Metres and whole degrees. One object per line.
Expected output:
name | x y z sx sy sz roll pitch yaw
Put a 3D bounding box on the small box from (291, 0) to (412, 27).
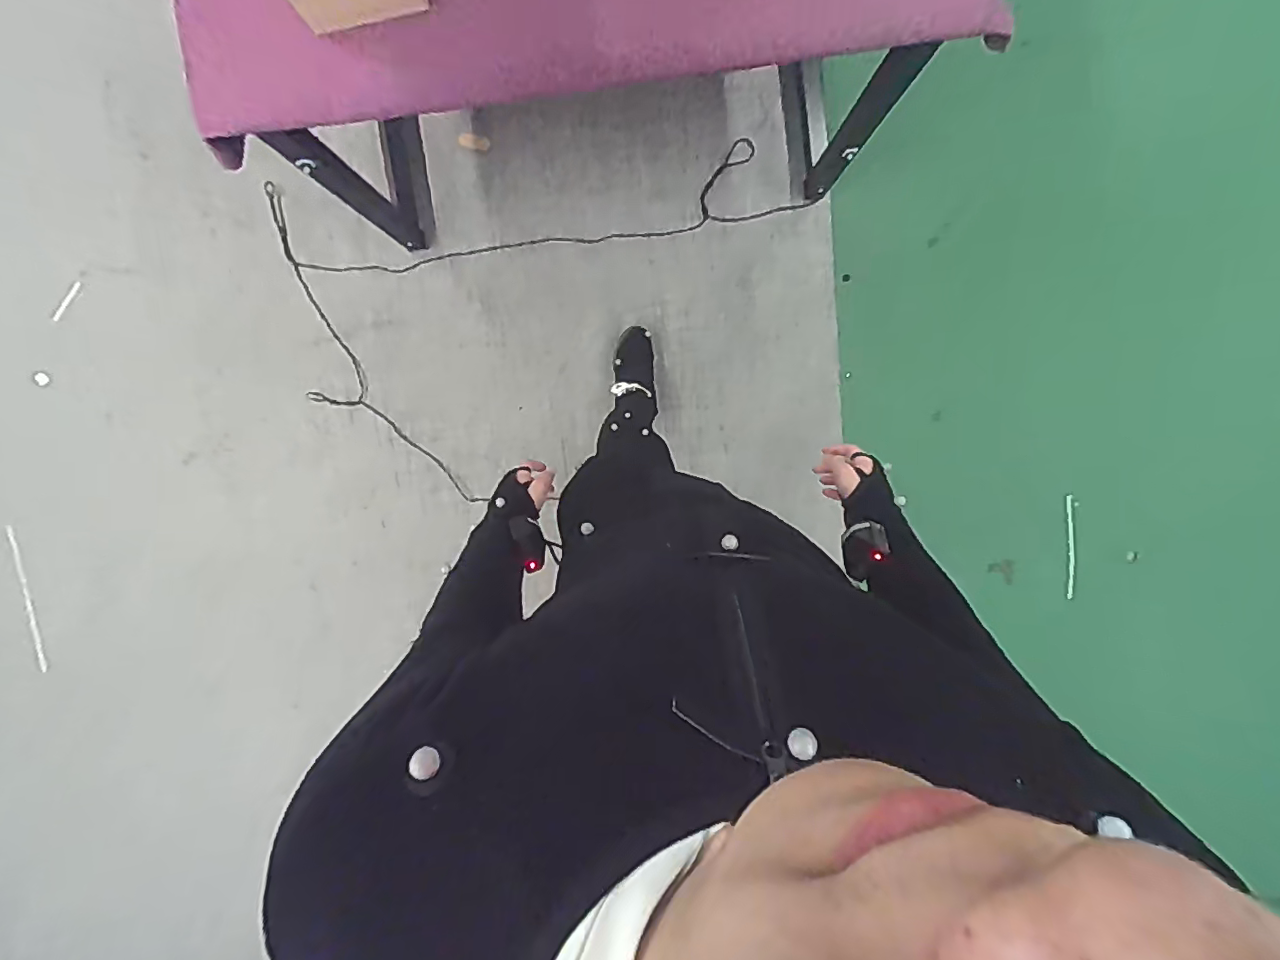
small box | -0.411 -0.748 0.706 0.179 0.176 0.168 -12 95 1
